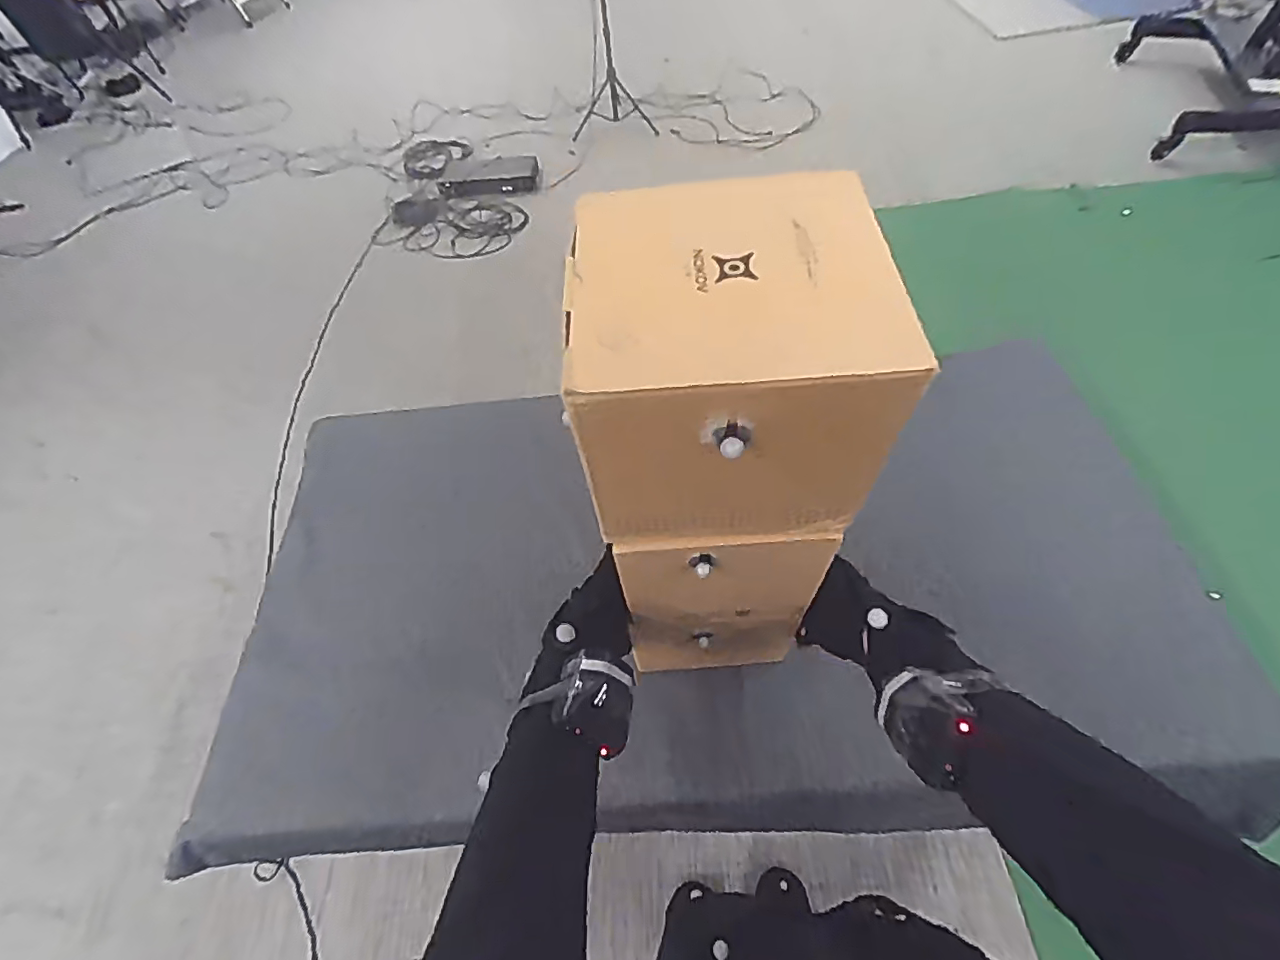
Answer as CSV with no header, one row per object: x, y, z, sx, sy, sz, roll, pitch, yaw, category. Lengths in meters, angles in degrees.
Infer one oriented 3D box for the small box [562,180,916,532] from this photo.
0.052,-0.073,0.372,0.179,0.176,0.168,-4,58,3,small box

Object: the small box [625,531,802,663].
0.079,0.110,0.640,0.179,0.176,0.168,-5,56,2,small box

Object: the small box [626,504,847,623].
0.070,0.018,0.509,0.168,0.176,0.179,-6,57,1,small box
